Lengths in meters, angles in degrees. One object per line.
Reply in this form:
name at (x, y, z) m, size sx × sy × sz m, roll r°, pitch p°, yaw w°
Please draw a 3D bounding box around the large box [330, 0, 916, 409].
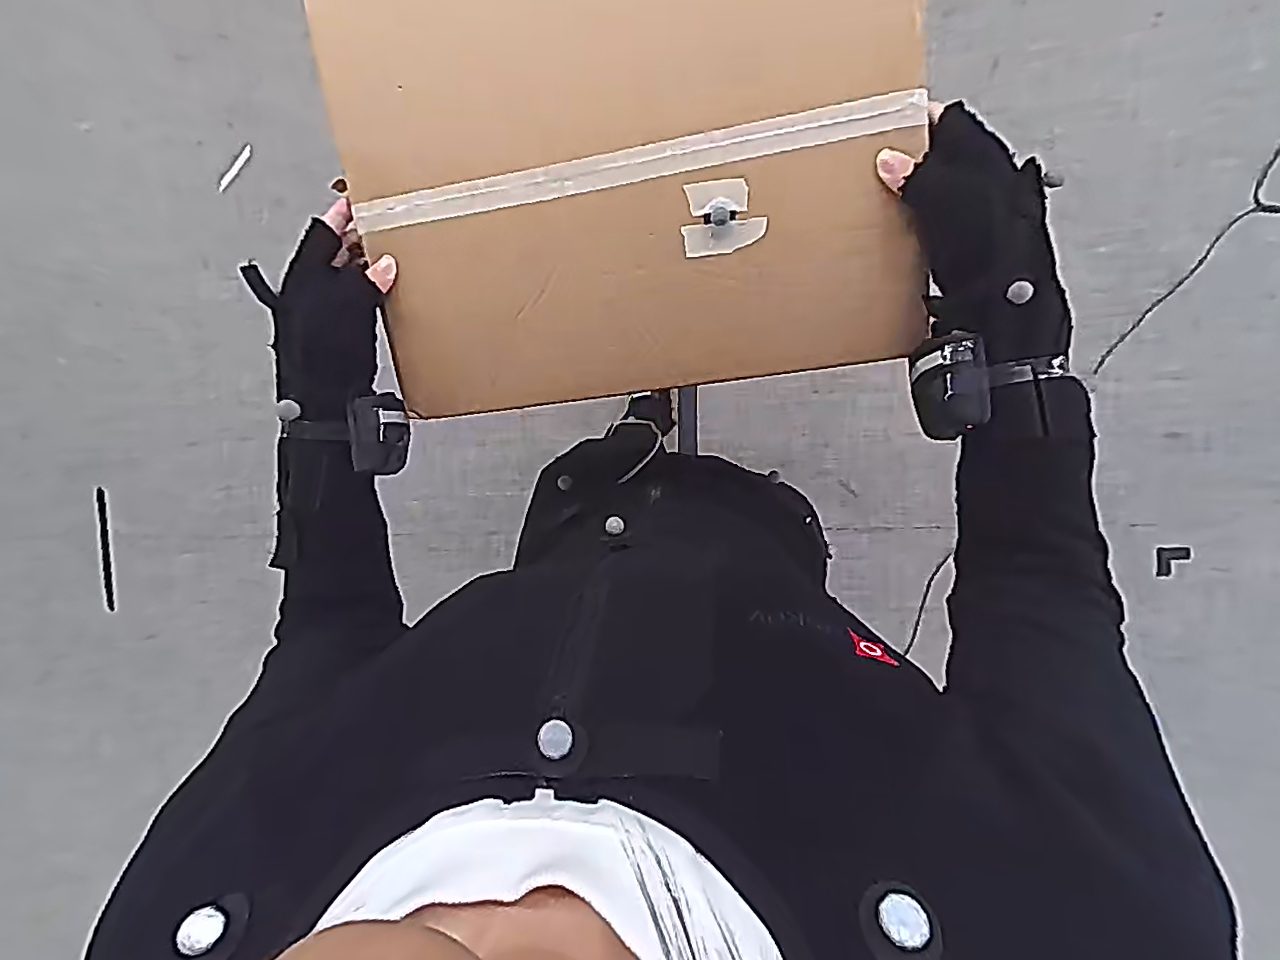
large box at (0.004, -0.267, 0.540) m, size 0.408 × 0.320 × 0.320 m, roll -6°, pitch 105°, yaw 8°
